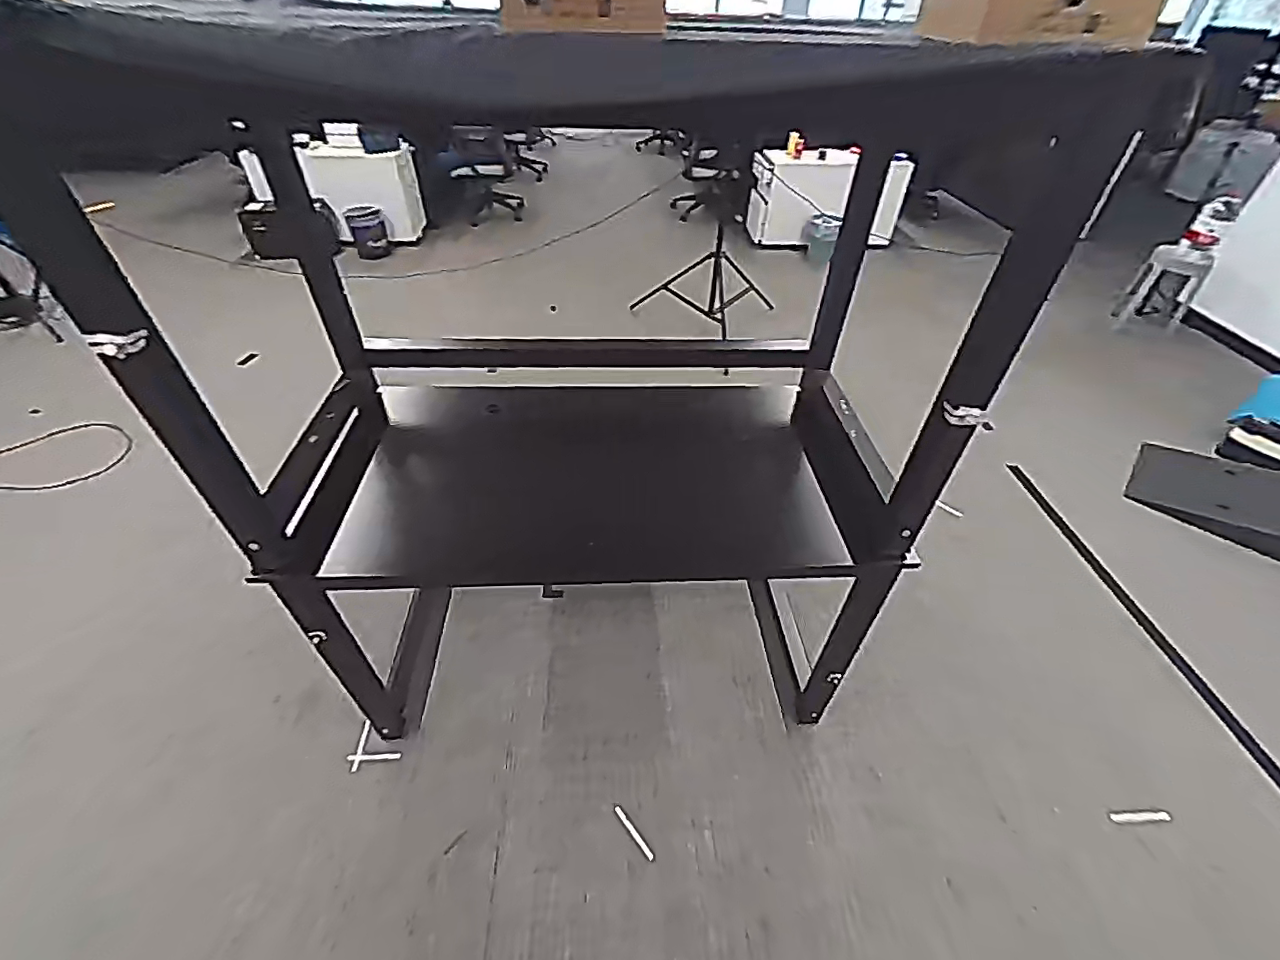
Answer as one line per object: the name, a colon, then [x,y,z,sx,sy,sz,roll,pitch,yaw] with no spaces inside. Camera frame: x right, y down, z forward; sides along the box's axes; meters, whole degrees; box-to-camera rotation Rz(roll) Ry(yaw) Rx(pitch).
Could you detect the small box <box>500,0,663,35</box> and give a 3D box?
small box: [-0.062,-0.569,0.556,0.168,0.176,0.179,-1,40,-4]
